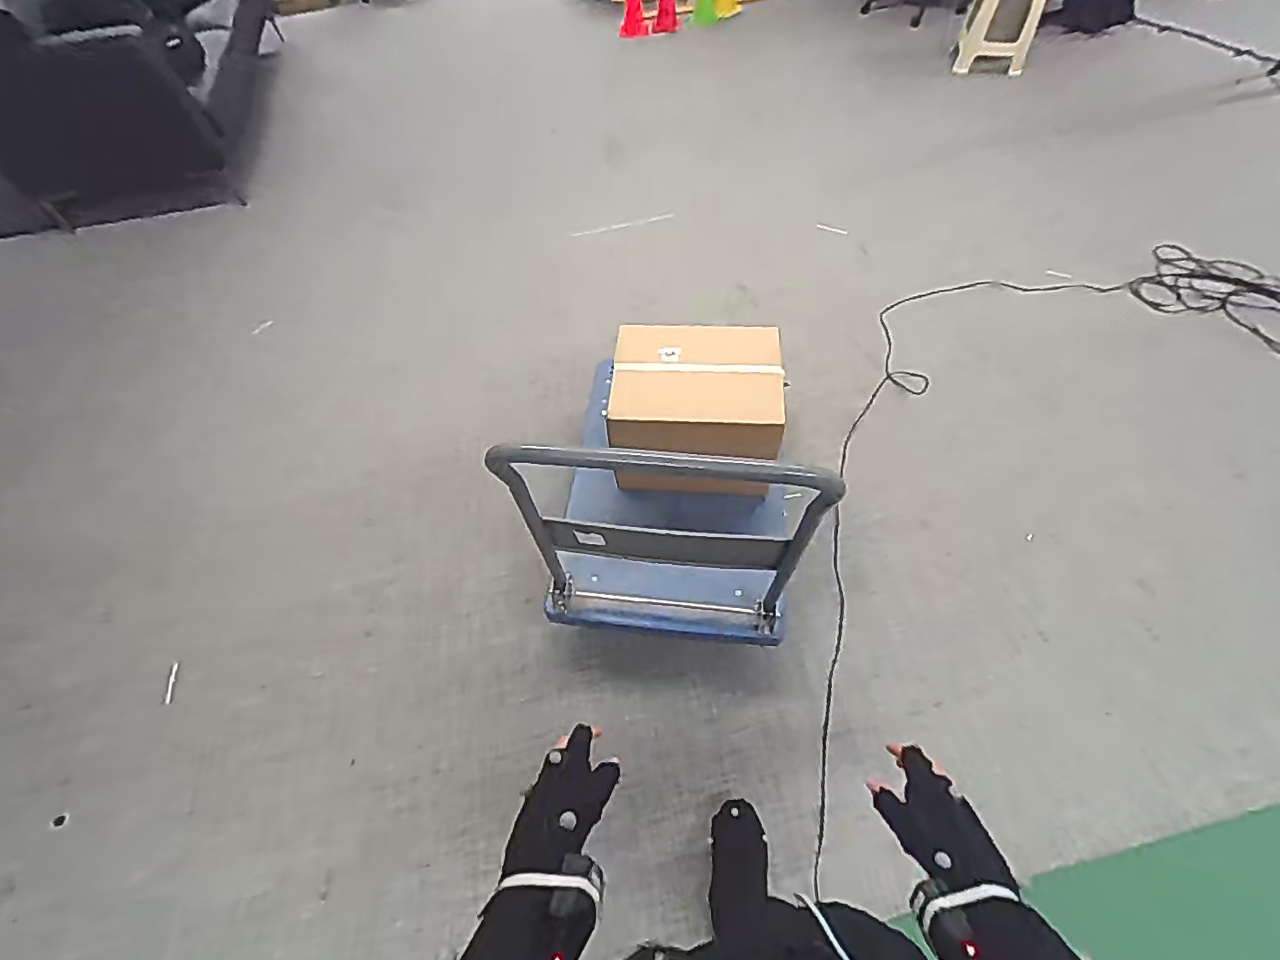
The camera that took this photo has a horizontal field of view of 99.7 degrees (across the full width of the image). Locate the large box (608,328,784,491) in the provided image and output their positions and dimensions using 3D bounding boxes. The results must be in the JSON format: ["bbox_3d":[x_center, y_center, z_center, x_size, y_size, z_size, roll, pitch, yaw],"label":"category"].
[{"bbox_3d":[0.145,-0.178,1.426,0.408,0.320,0.320,1,57,6],"label":"large box"}]
